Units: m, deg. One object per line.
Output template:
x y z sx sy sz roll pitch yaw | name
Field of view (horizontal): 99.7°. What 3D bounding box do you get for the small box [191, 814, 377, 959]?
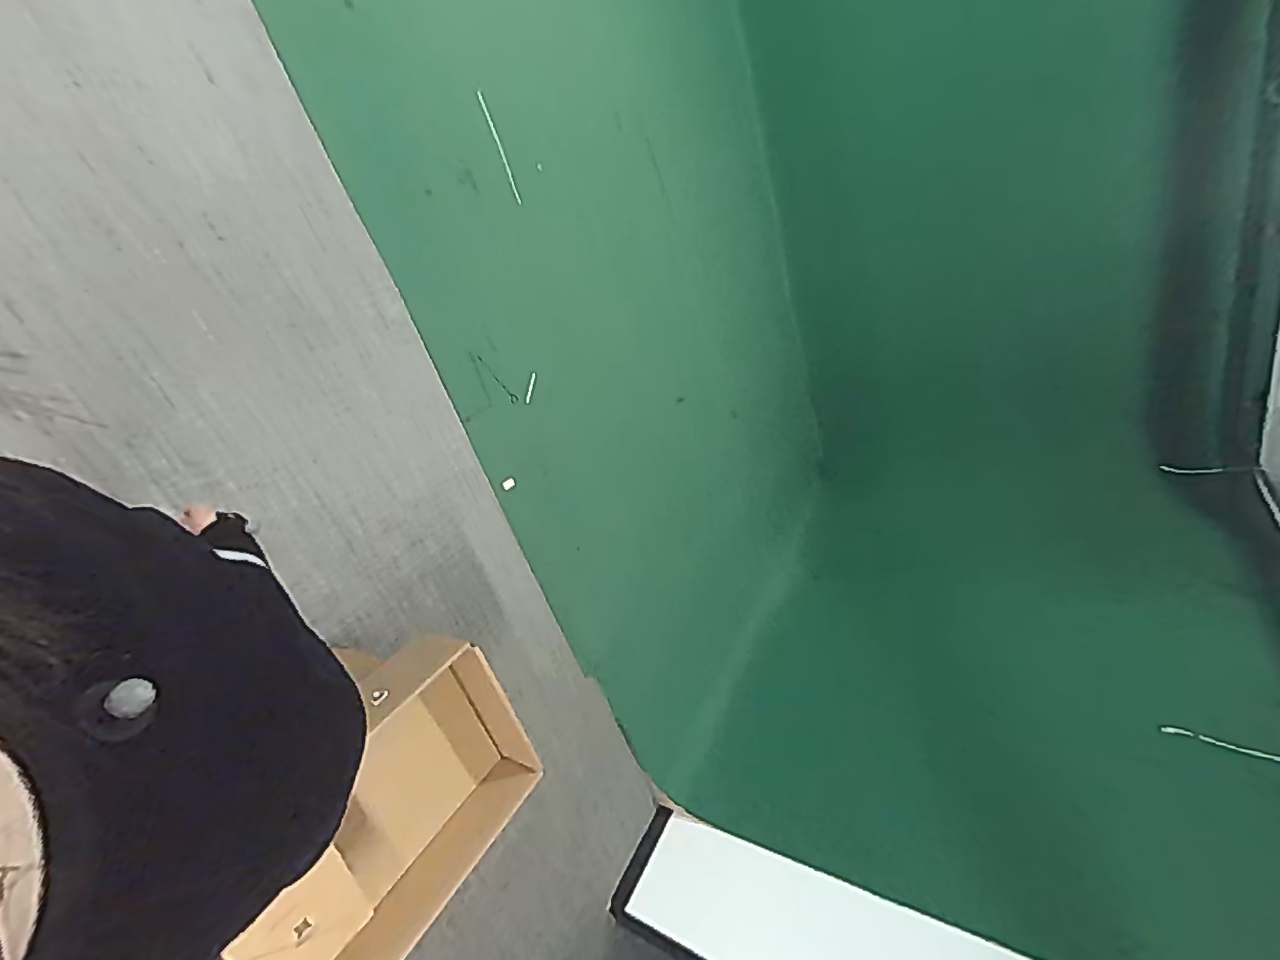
-0.565 0.681 0.864 0.168 0.176 0.179 -36 117 -48 | small box
